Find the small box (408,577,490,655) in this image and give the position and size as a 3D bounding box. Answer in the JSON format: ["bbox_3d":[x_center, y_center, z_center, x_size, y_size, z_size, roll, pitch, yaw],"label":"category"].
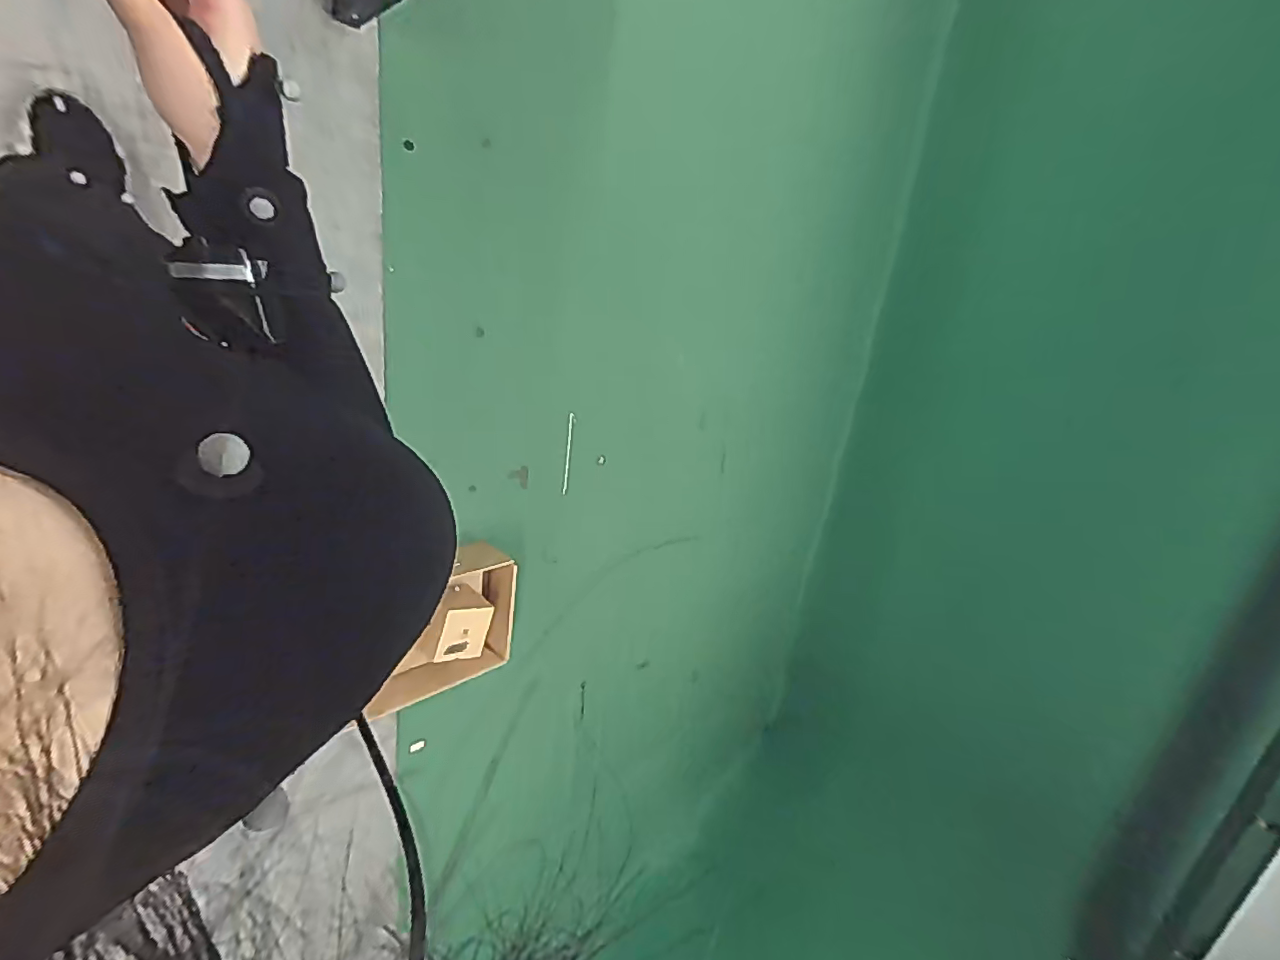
[{"bbox_3d":[-0.608,0.423,1.706,0.168,0.176,0.179,11,101,-50],"label":"small box"}]
